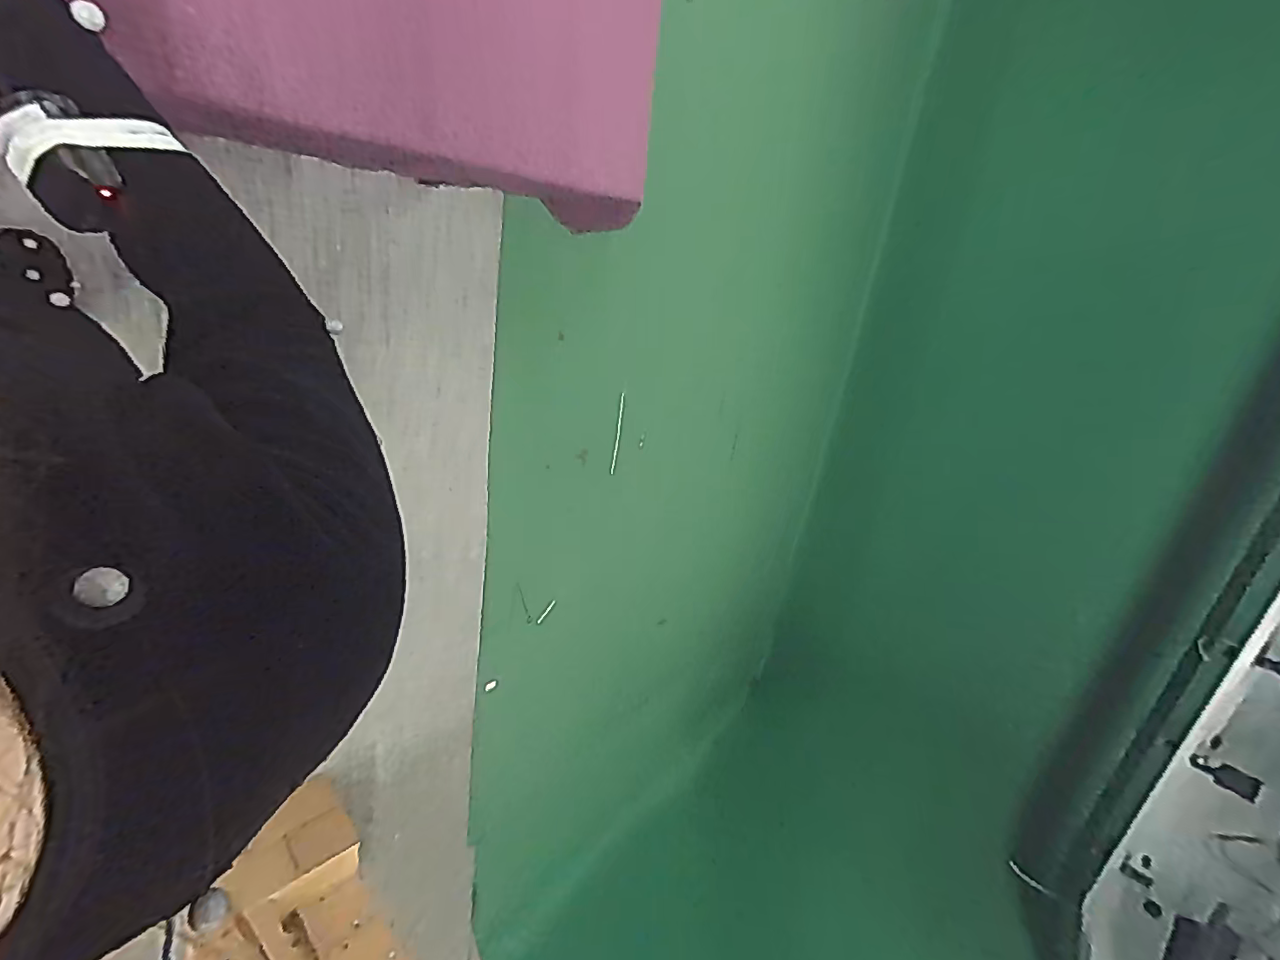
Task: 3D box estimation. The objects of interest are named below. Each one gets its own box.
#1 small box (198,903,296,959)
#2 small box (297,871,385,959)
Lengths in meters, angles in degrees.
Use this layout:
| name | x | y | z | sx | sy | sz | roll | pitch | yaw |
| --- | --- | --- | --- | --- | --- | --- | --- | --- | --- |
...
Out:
| name | x | y | z | sx | sy | sz | roll | pitch | yaw |
| --- | --- | --- | --- | --- | --- | --- | --- | --- | --- |
| small box | -0.983 | 1.212 | 1.347 | 0.168 | 0.176 | 0.179 | -4 | 115 | -49 |
| small box | -0.860 | 1.286 | 1.550 | 0.168 | 0.176 | 0.179 | -6 | 117 | -51 |
